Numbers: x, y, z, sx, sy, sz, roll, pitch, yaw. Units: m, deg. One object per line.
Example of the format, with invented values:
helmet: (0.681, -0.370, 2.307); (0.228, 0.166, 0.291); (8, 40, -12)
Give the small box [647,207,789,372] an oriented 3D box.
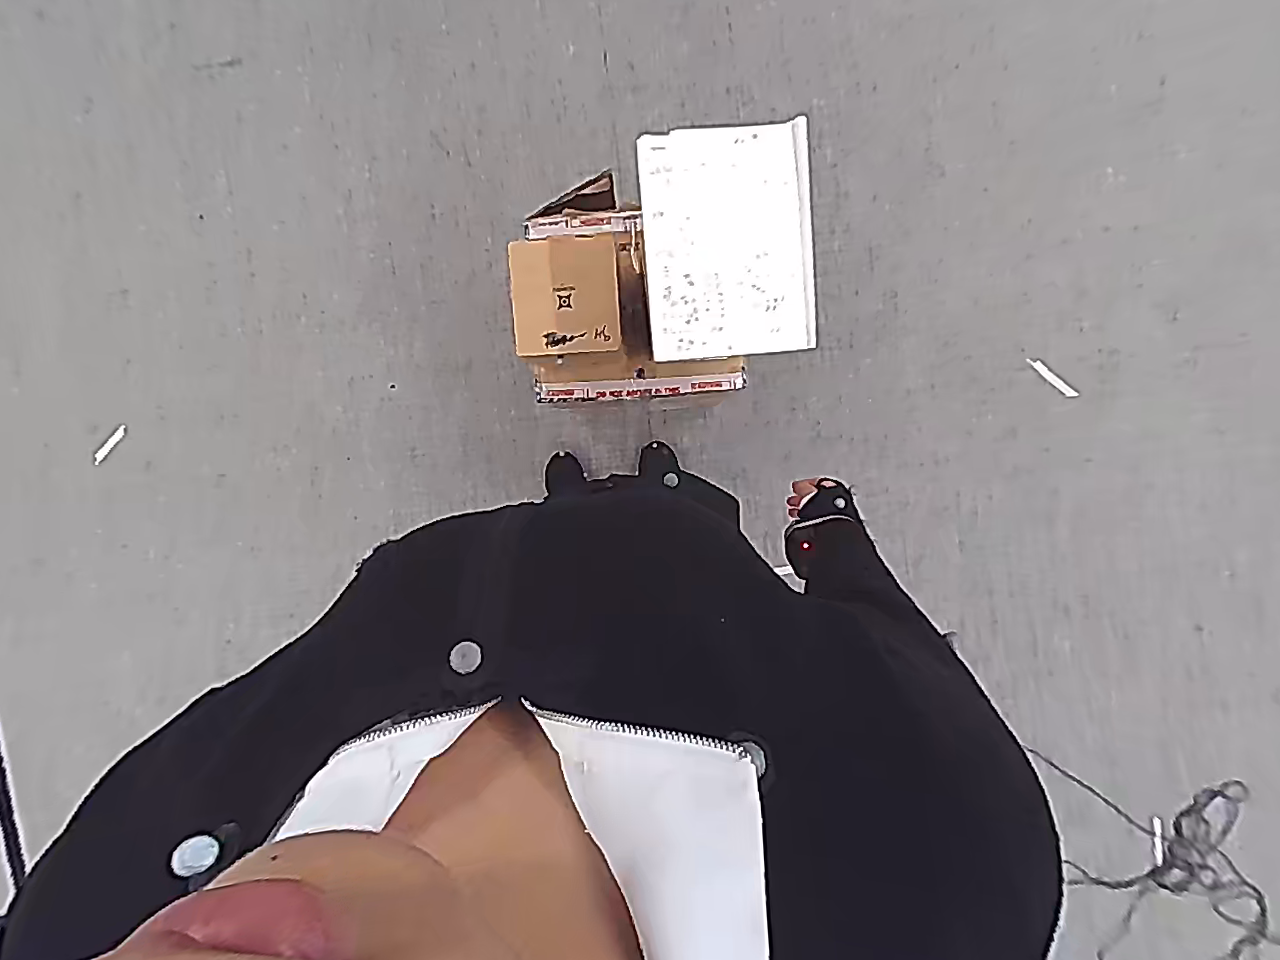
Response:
small box: (0.099, -0.252, 0.751); (0.168, 0.176, 0.179); (-4, 96, 0)
